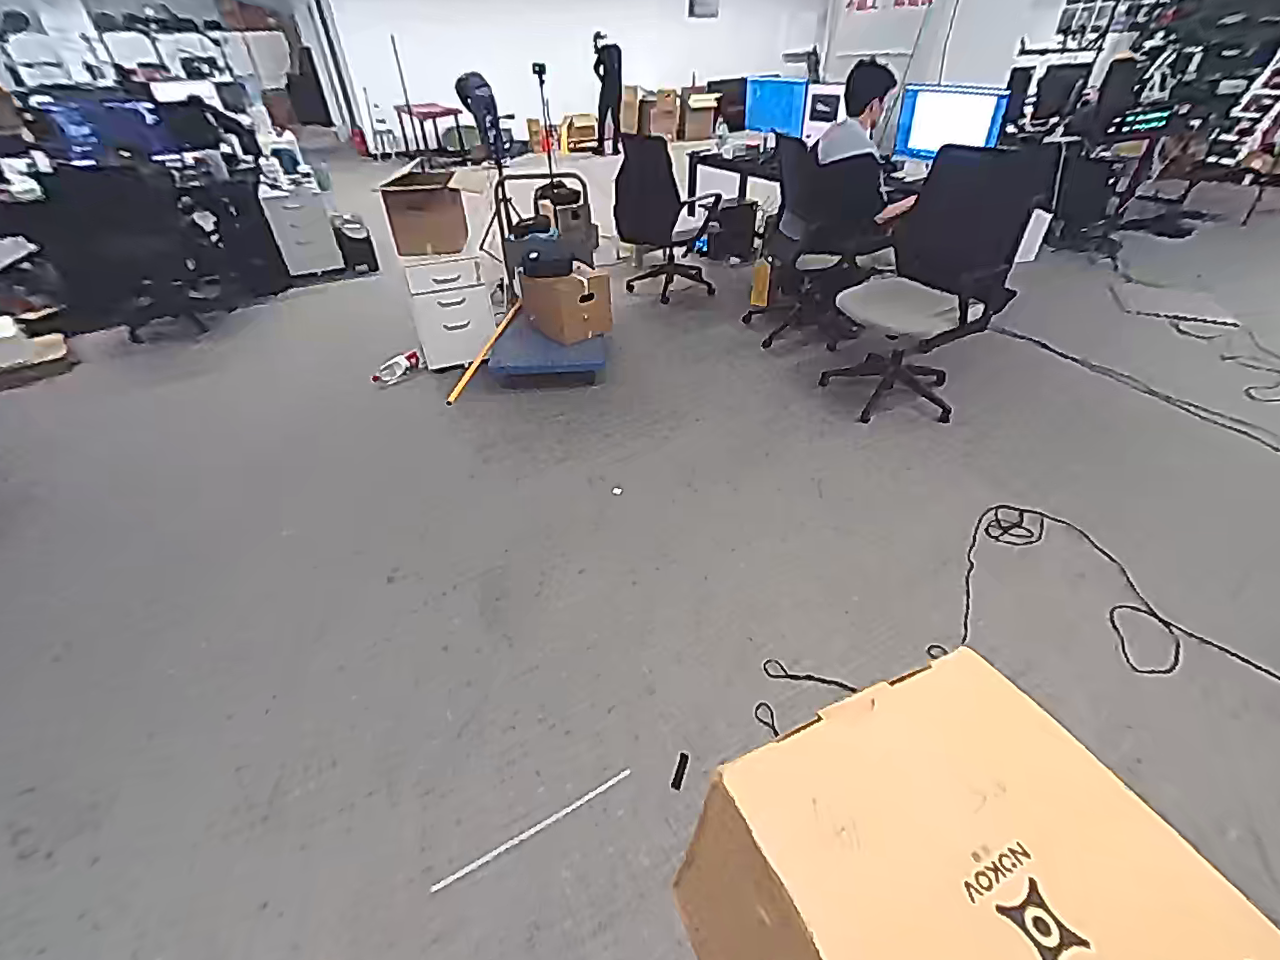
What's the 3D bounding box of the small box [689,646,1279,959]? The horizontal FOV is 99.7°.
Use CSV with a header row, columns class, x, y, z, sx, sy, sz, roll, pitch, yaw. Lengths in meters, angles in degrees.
class,x,y,z,sx,sy,sz,roll,pitch,yaw
small box,0.139,0.222,0.264,0.168,0.176,0.179,-14,41,-23
